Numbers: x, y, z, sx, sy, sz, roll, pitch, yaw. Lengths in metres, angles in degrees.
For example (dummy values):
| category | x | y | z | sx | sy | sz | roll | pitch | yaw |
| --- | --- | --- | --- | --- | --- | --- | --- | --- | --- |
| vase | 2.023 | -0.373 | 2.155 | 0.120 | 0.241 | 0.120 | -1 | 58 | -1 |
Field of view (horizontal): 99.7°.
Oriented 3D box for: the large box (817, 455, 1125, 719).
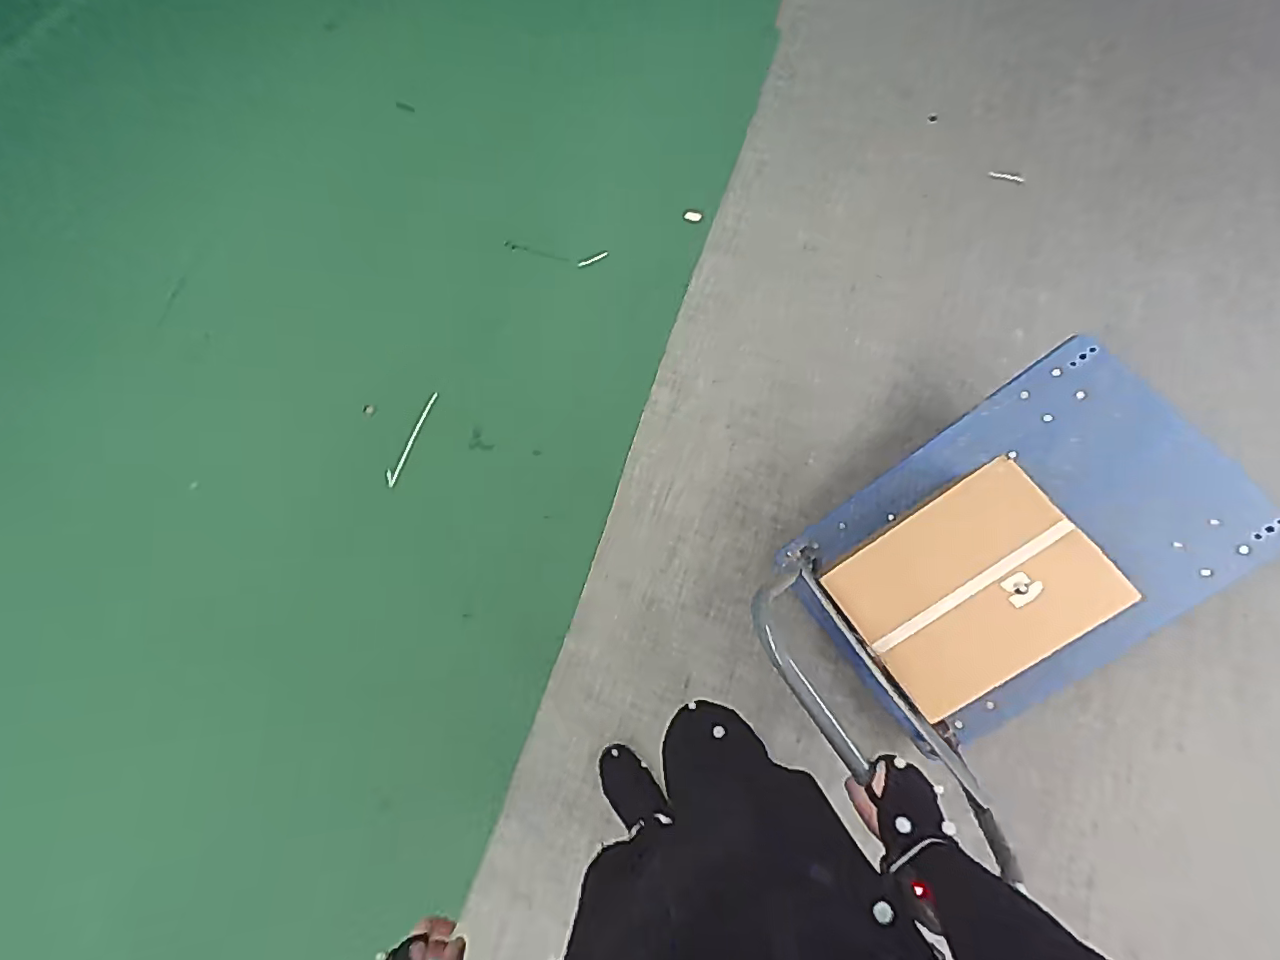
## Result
| category | x | y | z | sx | sy | sz | roll | pitch | yaw |
| --- | --- | --- | --- | --- | --- | --- | --- | --- | --- |
| large box | 0.625 | 0.214 | 1.120 | 0.408 | 0.320 | 0.320 | -38 | 74 | 9 |
